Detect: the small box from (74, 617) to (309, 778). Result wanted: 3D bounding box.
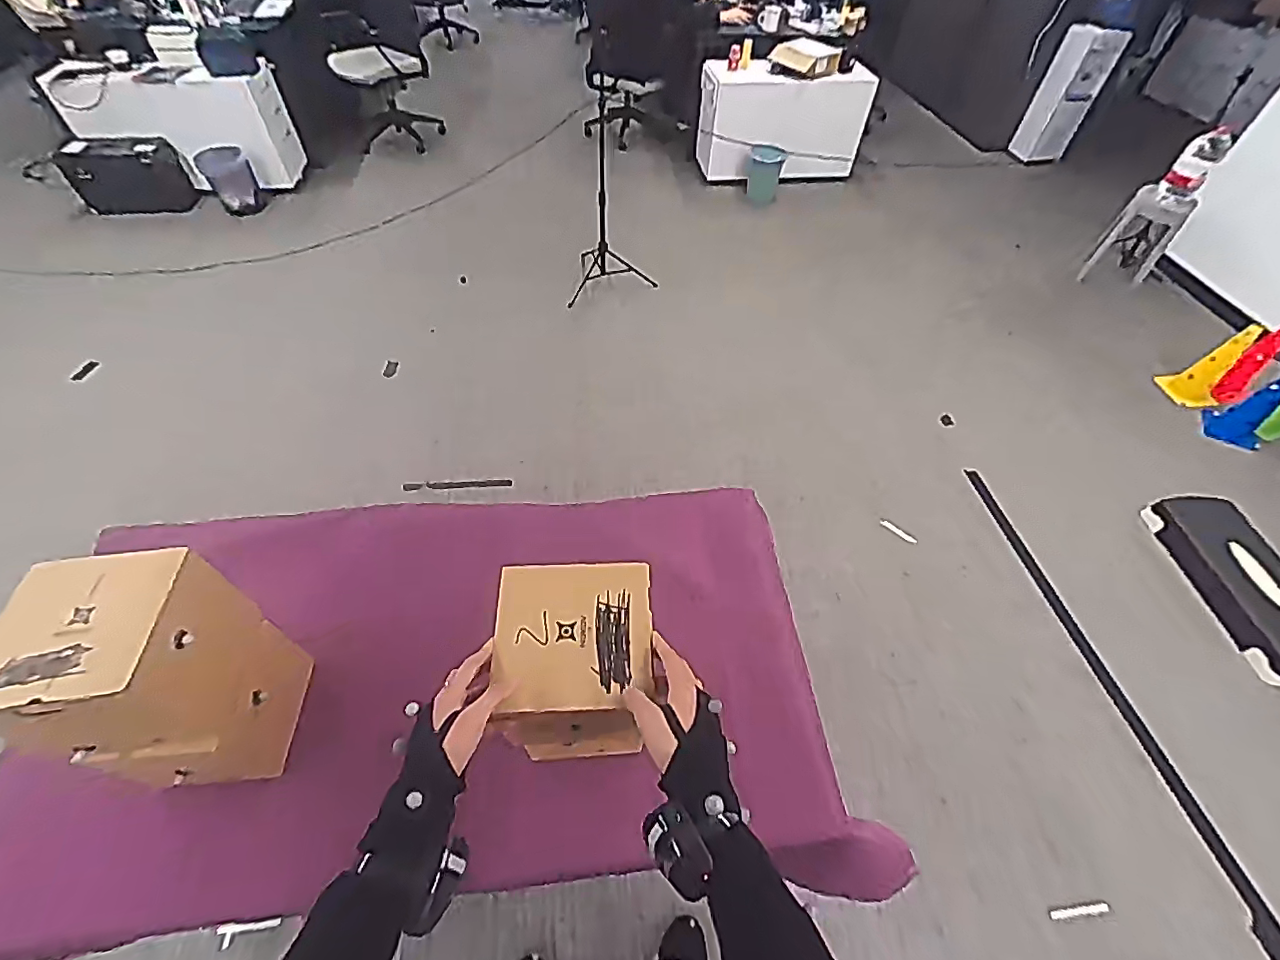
[{"bbox_3d":[-0.605,0.311,0.764,0.168,0.176,0.179,-1,52,-5],"label":"small box"}]

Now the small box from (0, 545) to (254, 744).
[{"bbox_3d":[-0.603,0.201,0.642,0.168,0.176,0.179,-5,51,-7],"label":"small box"}]

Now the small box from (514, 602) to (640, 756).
[{"bbox_3d":[-0.085,0.300,0.803,0.168,0.176,0.179,-2,51,-4],"label":"small box"}]
